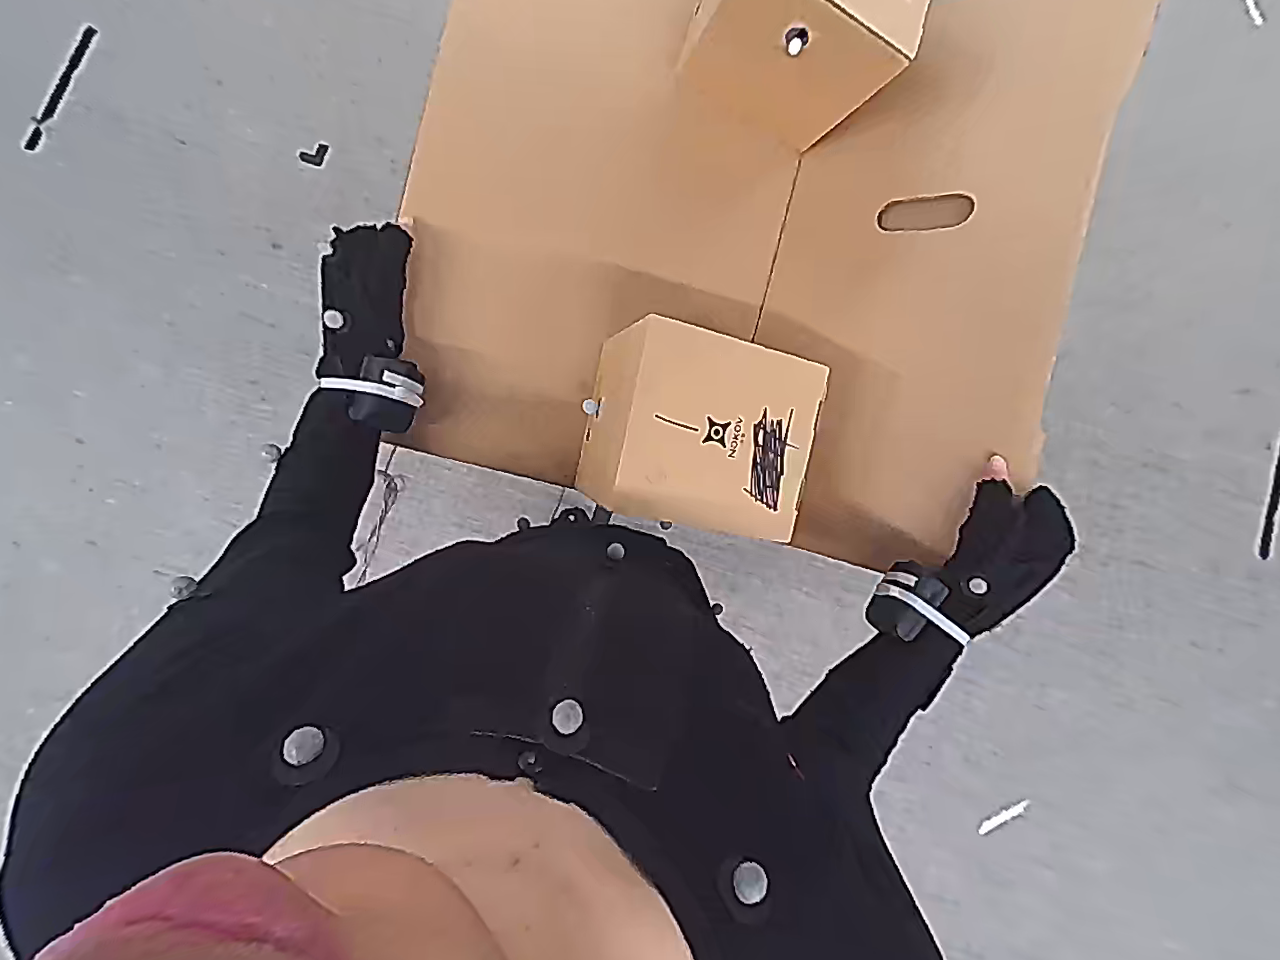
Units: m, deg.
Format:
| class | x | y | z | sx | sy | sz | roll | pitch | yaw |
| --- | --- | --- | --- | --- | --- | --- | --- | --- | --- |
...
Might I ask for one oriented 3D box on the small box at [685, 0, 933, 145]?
| class | x | y | z | sx | sy | sz | roll | pitch | yaw |
| --- | --- | --- | --- | --- | --- | --- | --- | --- | --- |
| small box | 0.167 | -0.479 | 0.537 | 0.179 | 0.176 | 0.168 | 18 | 90 | -19 |
